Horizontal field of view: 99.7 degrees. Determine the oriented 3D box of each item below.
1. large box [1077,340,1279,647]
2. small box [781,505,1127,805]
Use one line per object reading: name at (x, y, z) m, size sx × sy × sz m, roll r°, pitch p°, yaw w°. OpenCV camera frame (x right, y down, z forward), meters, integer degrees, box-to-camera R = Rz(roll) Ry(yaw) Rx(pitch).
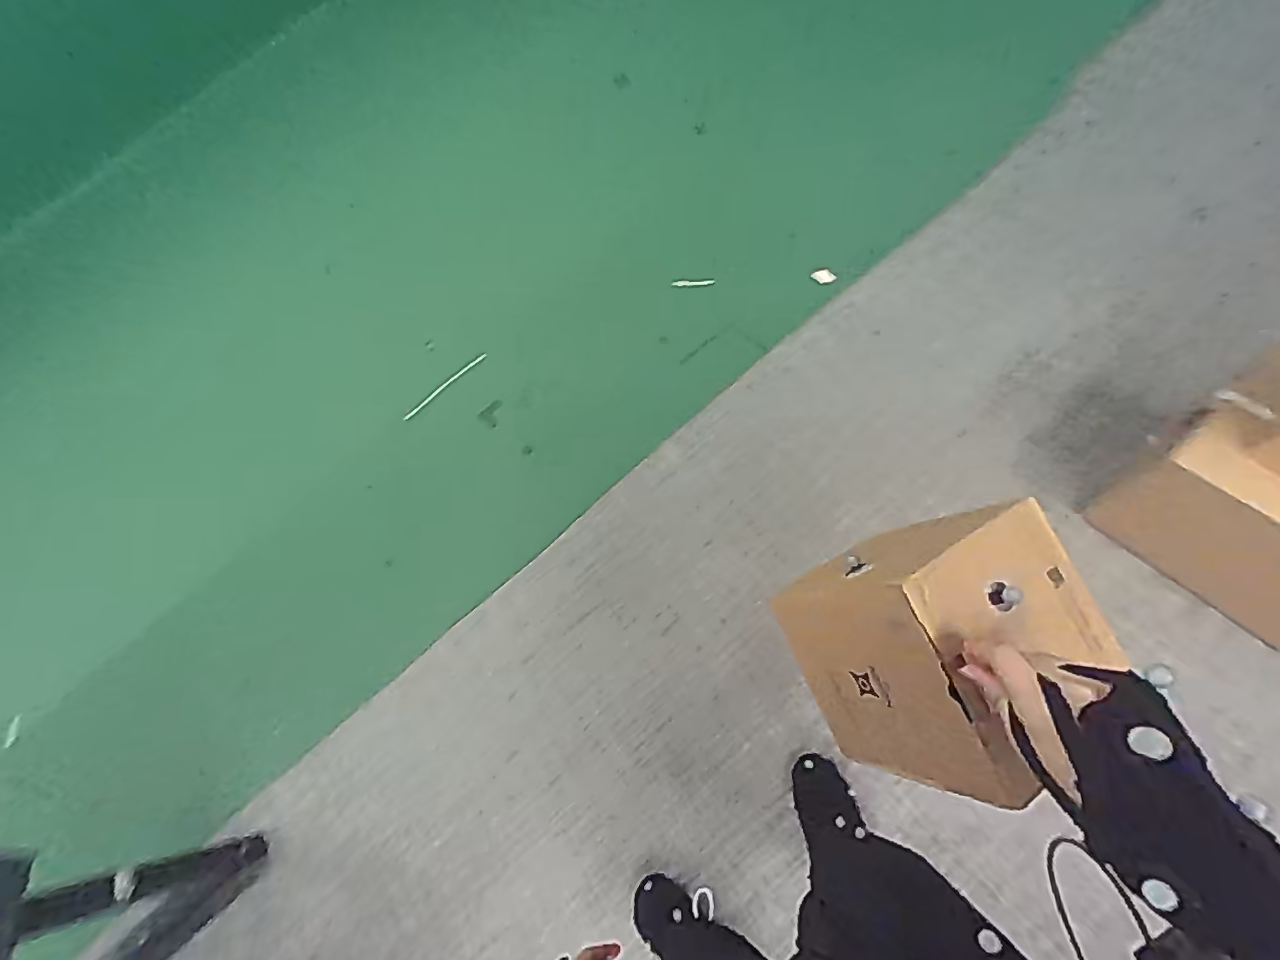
large box at (1.136, 0.038, 0.961) m, size 0.320 × 0.320 × 0.408 m, roll -44°, pitch 66°, yaw -5°
small box at (0.263, 0.133, 0.467) m, size 0.176 × 0.179 × 0.168 m, roll -20°, pitch 83°, yaw -21°
